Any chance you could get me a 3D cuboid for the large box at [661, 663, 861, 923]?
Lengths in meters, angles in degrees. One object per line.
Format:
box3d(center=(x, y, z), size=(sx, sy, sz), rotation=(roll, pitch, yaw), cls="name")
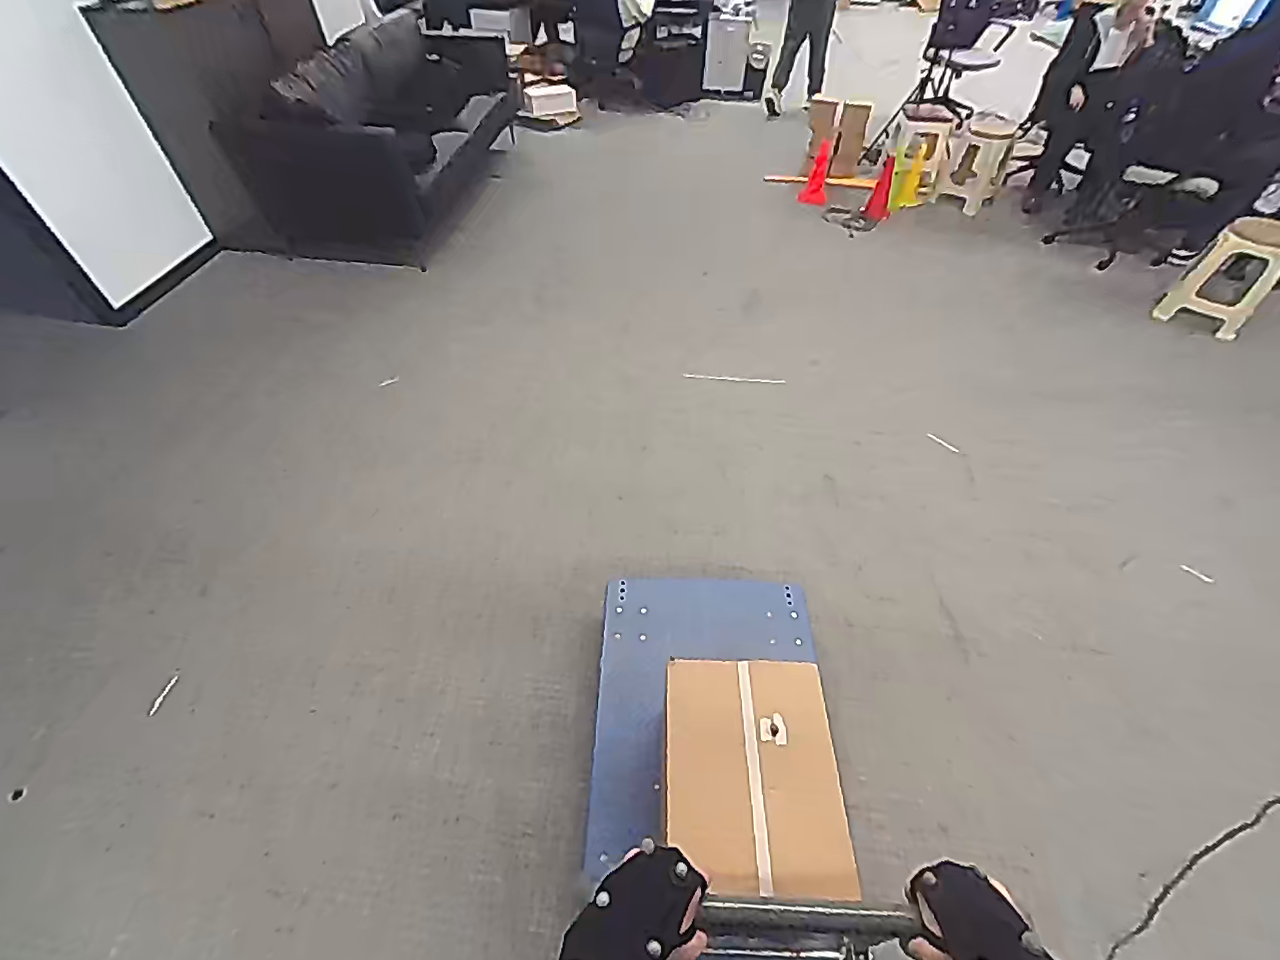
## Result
box3d(center=(0.203, 0.632, 1.101), size=(0.320, 0.320, 0.408), rotation=(1, 47, 0), cls="large box")
